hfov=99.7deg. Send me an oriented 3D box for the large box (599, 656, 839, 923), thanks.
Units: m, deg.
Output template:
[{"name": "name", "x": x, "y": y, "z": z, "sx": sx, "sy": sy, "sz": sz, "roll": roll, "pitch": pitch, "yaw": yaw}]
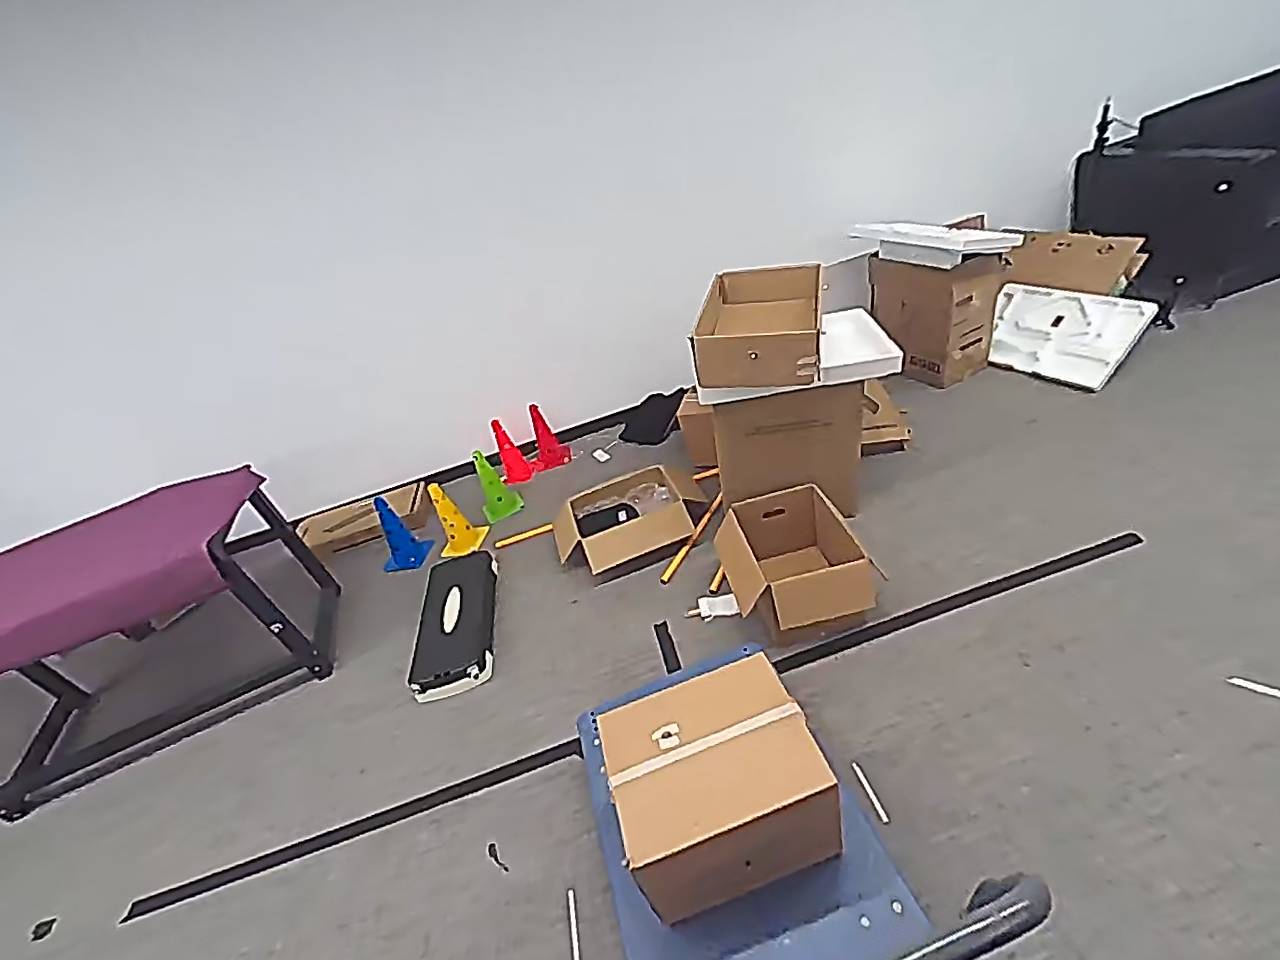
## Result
[{"name": "large box", "x": 0.169, "y": 0.664, "z": 1.178, "sx": 0.408, "sy": 0.320, "sz": 0.320, "roll": -21, "pitch": 33, "yaw": -4}]
